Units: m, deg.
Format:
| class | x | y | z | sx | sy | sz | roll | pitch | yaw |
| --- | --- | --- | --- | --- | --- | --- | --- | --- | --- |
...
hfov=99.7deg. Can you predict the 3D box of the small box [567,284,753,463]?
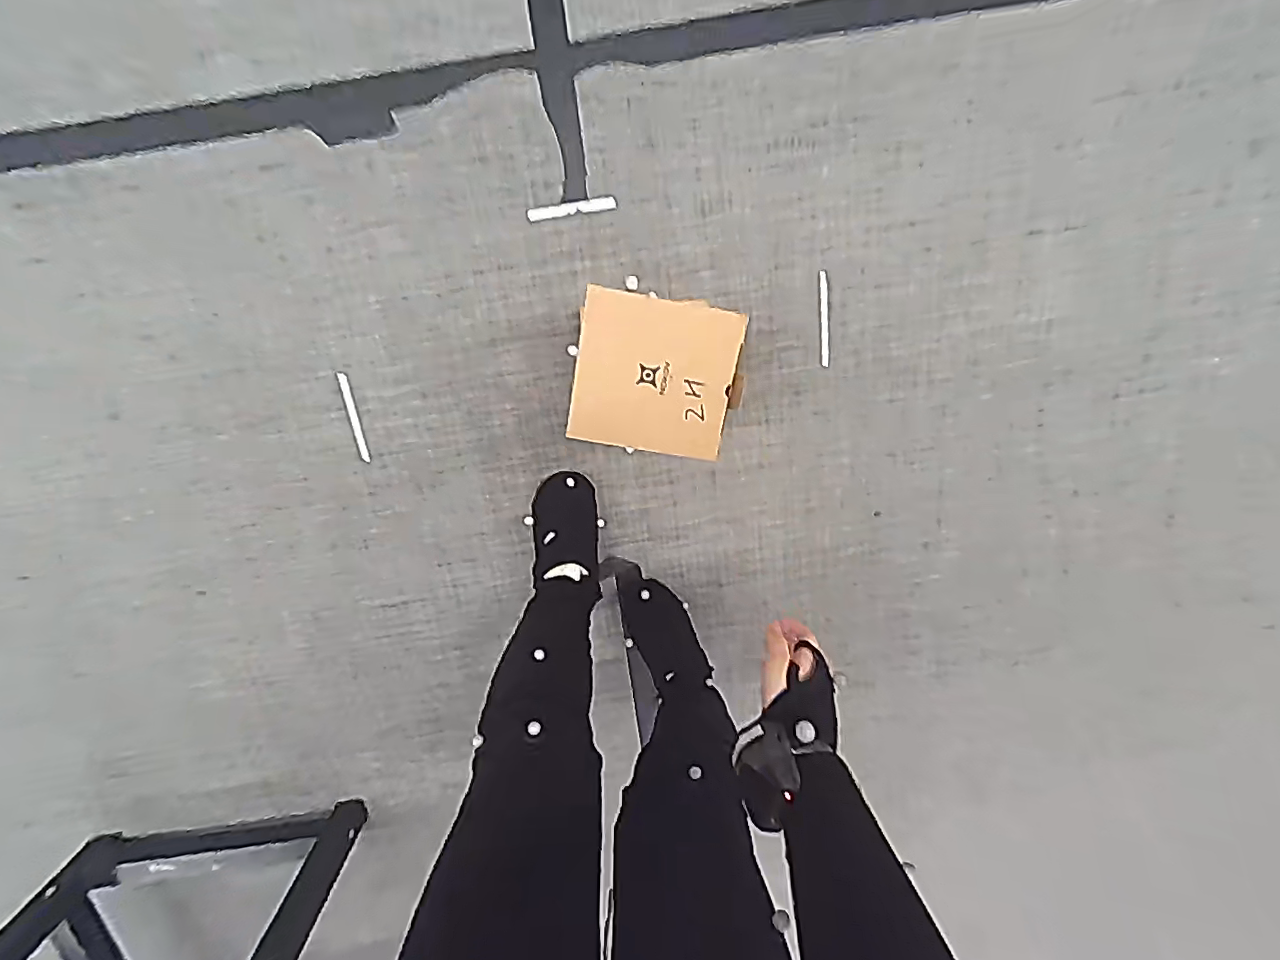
| class | x | y | z | sx | sy | sz | roll | pitch | yaw |
| --- | --- | --- | --- | --- | --- | --- | --- | --- | --- |
| small box | 0.016 | -0.133 | 0.659 | 0.179 | 0.176 | 0.168 | 10 | 107 | -6 |
